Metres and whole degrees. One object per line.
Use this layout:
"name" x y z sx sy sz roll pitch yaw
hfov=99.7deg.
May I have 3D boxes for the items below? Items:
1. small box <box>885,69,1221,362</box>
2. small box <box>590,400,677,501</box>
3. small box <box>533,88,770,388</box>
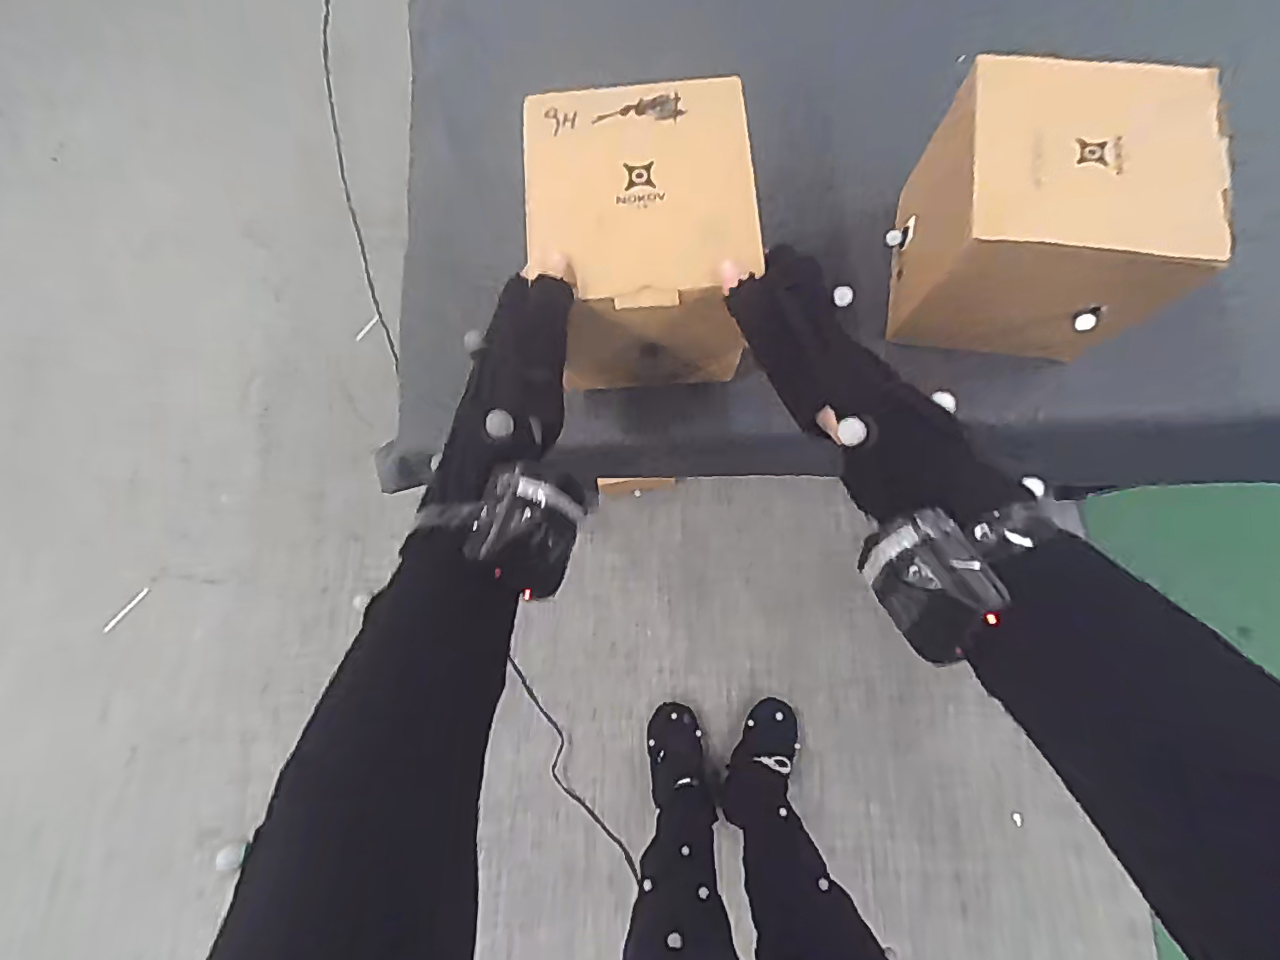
"small box" 0.344 -0.220 0.486 0.179 0.176 0.168 7 77 6
"small box" -0.012 -0.061 1.217 0.168 0.176 0.179 -10 79 1
"small box" 0.009 -0.187 0.468 0.168 0.176 0.179 -4 79 1
